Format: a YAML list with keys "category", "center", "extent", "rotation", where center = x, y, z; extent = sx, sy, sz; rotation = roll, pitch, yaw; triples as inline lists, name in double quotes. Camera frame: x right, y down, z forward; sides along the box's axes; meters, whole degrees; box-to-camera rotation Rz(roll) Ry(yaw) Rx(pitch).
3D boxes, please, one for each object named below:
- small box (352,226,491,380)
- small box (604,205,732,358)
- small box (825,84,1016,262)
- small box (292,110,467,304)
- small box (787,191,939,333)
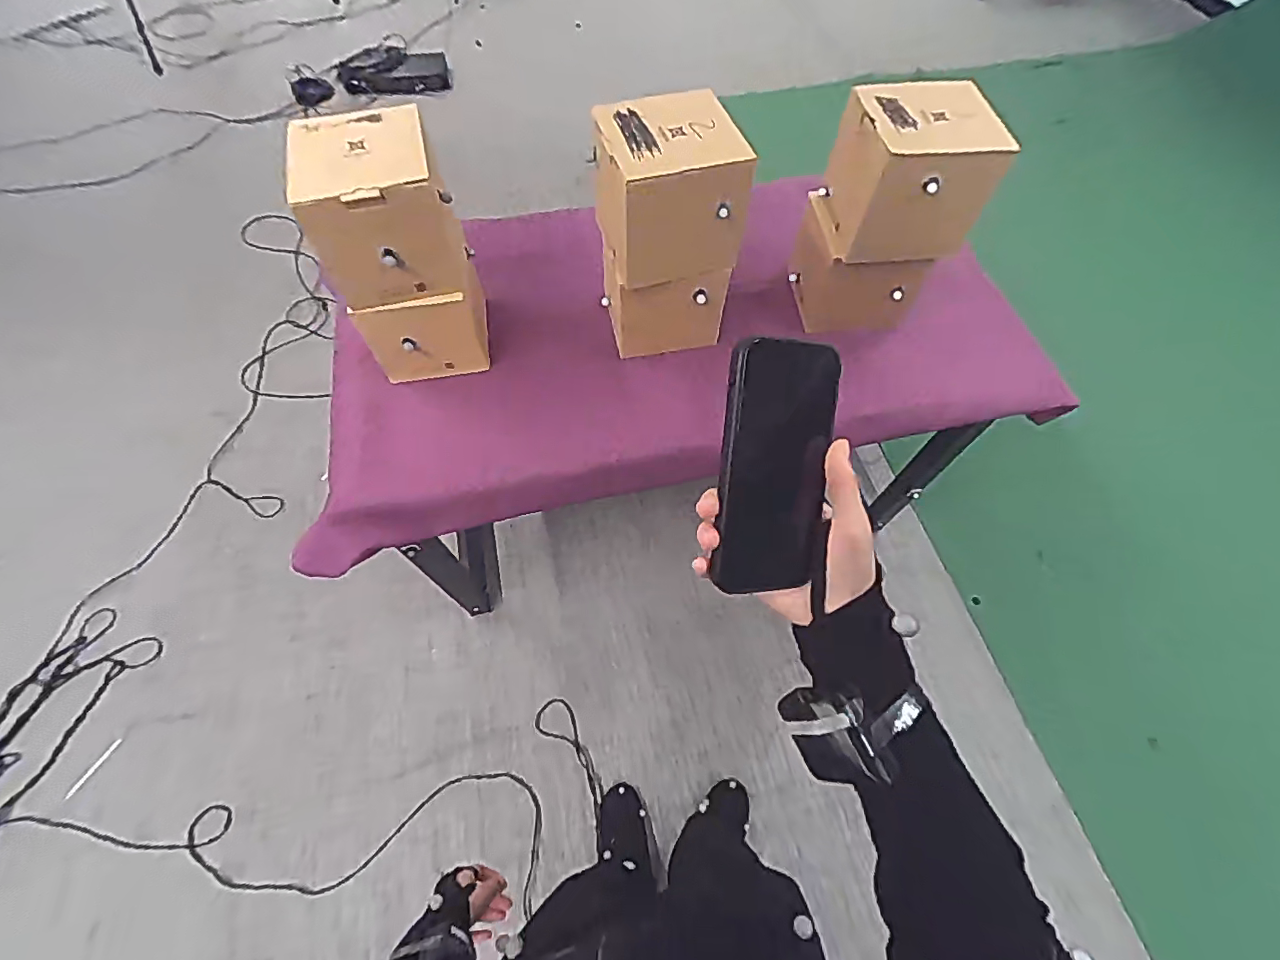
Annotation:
- category: "small box"
  center: [-0.348, -0.280, 0.888]
  extent: [0.168, 0.176, 0.179]
  rotation: [-9, 62, -5]
- category: "small box"
  center: [0.039, -0.330, 0.915]
  extent: [0.179, 0.176, 0.168]
  rotation: [-10, 62, -5]
- category: "small box"
  center: [0.387, -0.441, 0.792]
  extent: [0.179, 0.176, 0.168]
  rotation: [-5, 62, -3]
- category: "small box"
  center: [-0.349, -0.365, 0.747]
  extent: [0.168, 0.176, 0.179]
  rotation: [-14, 64, -8]
- category: "small box"
  center: [0.375, -0.376, 0.942]
  extent: [0.179, 0.176, 0.168]
  rotation: [-4, 62, -2]
